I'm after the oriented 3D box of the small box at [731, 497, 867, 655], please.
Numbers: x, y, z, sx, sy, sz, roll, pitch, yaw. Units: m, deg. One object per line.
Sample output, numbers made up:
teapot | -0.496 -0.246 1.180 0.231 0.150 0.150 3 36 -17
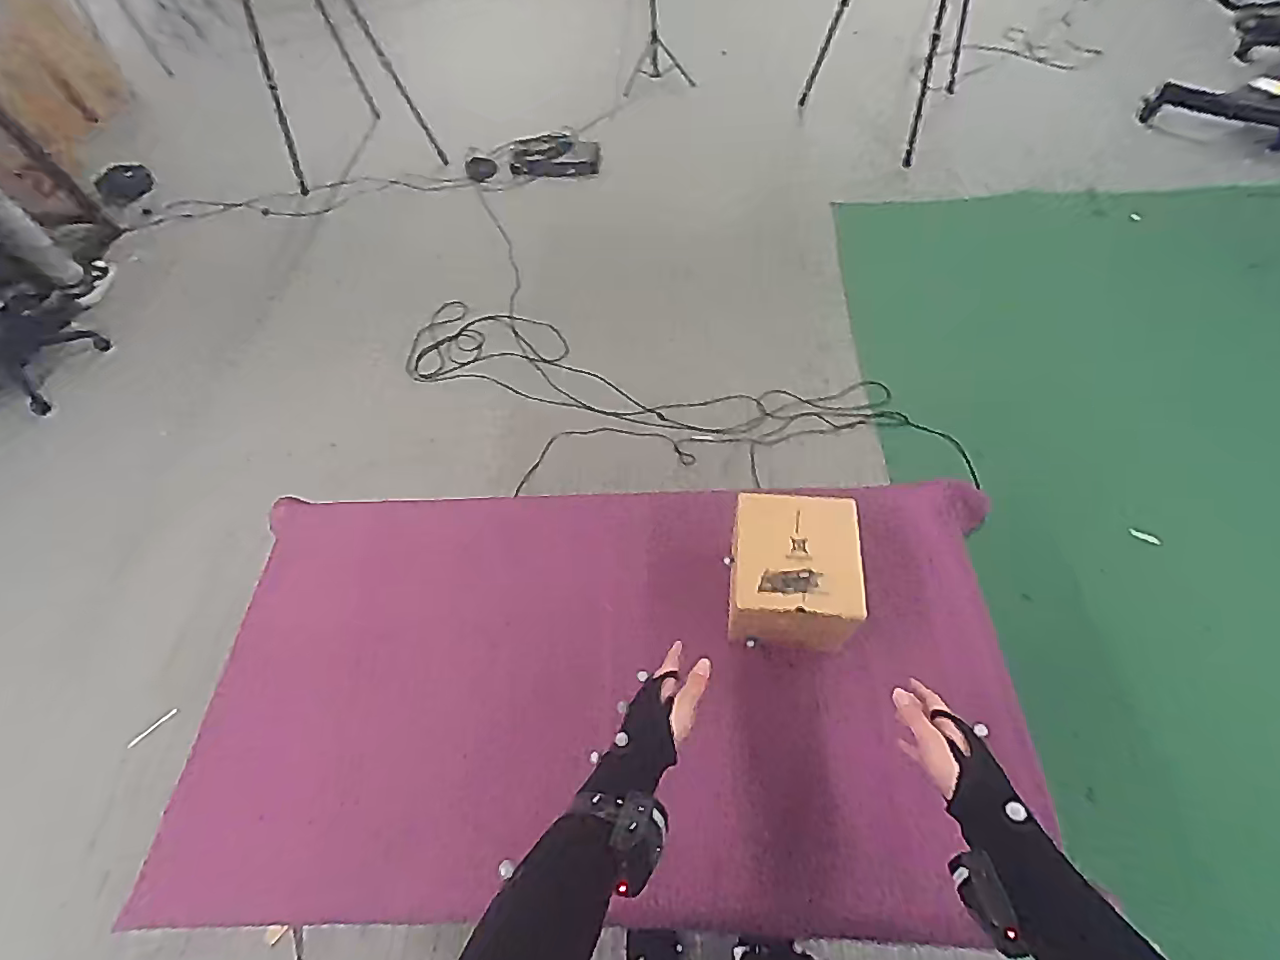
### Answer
small box | 0.224 0.146 0.796 0.168 0.176 0.179 4 58 8
